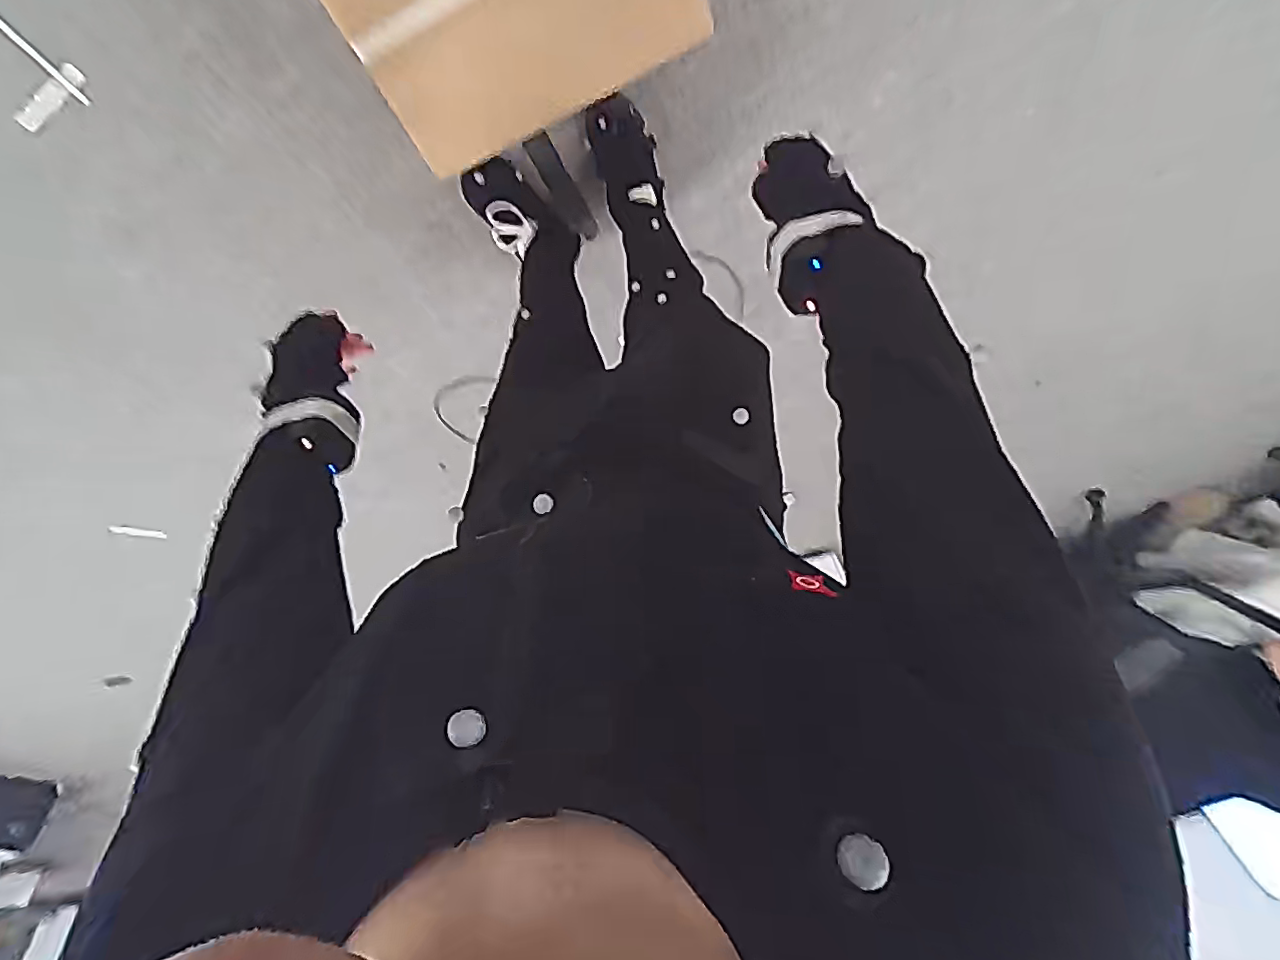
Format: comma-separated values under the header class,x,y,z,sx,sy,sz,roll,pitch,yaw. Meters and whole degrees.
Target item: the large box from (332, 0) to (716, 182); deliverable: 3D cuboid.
class,x,y,z,sx,sy,sz,roll,pitch,yaw
large box,-0.160,-0.678,0.703,0.408,0.320,0.320,-20,138,12
